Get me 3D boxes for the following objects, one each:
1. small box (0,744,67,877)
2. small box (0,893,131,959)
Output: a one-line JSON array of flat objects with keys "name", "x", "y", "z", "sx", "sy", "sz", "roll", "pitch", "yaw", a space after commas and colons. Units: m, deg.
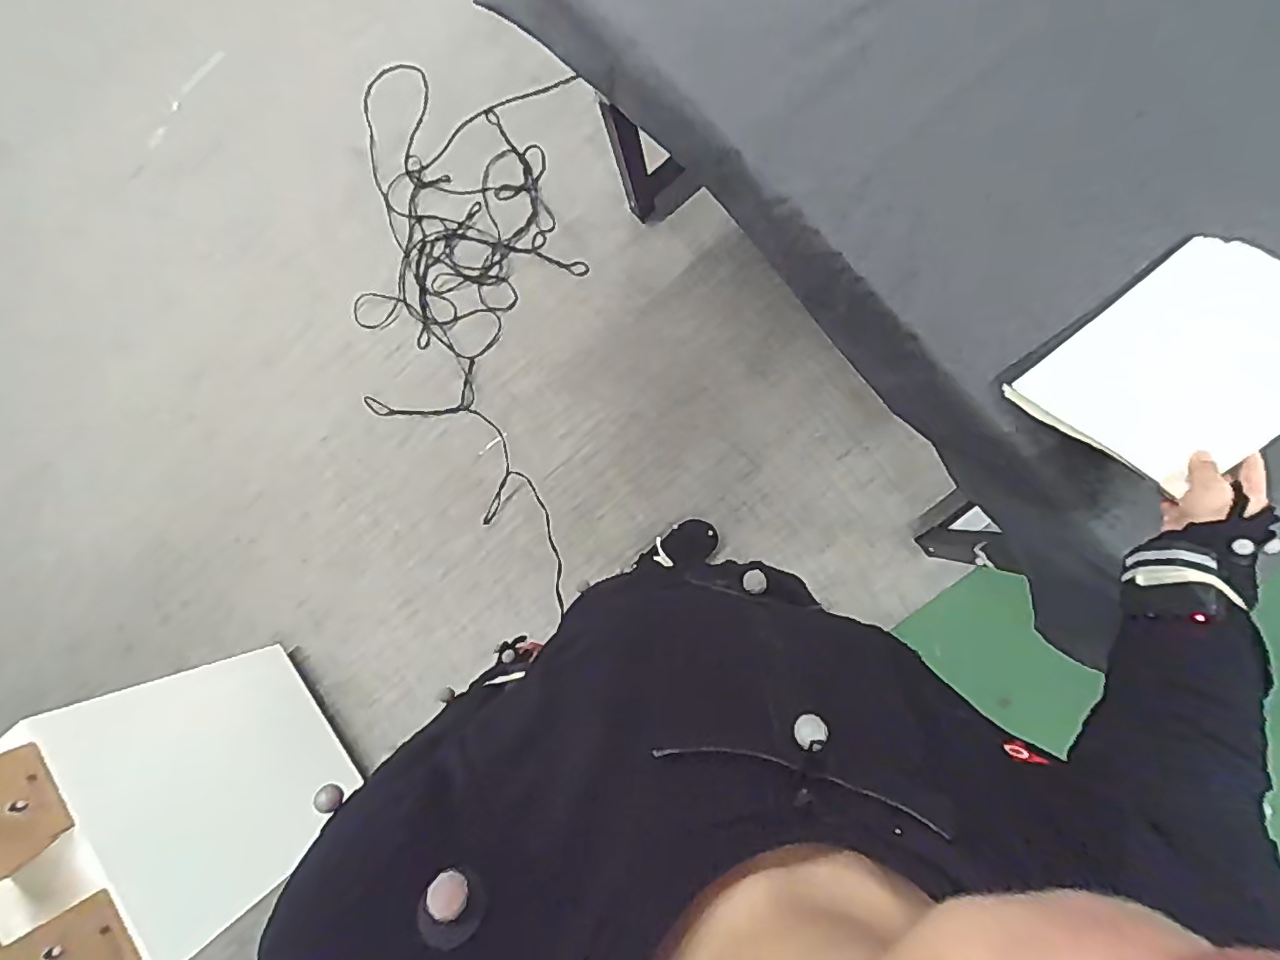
[{"name": "small box", "x": -1.077, "y": 0.556, "z": 0.844, "sx": 0.179, "sy": 0.176, "sz": 0.168, "roll": -37, "pitch": 82, "yaw": 5}, {"name": "small box", "x": -0.915, "y": 0.777, "z": 0.806, "sx": 0.179, "sy": 0.176, "sz": 0.168, "roll": -37, "pitch": 80, "yaw": 7}]
